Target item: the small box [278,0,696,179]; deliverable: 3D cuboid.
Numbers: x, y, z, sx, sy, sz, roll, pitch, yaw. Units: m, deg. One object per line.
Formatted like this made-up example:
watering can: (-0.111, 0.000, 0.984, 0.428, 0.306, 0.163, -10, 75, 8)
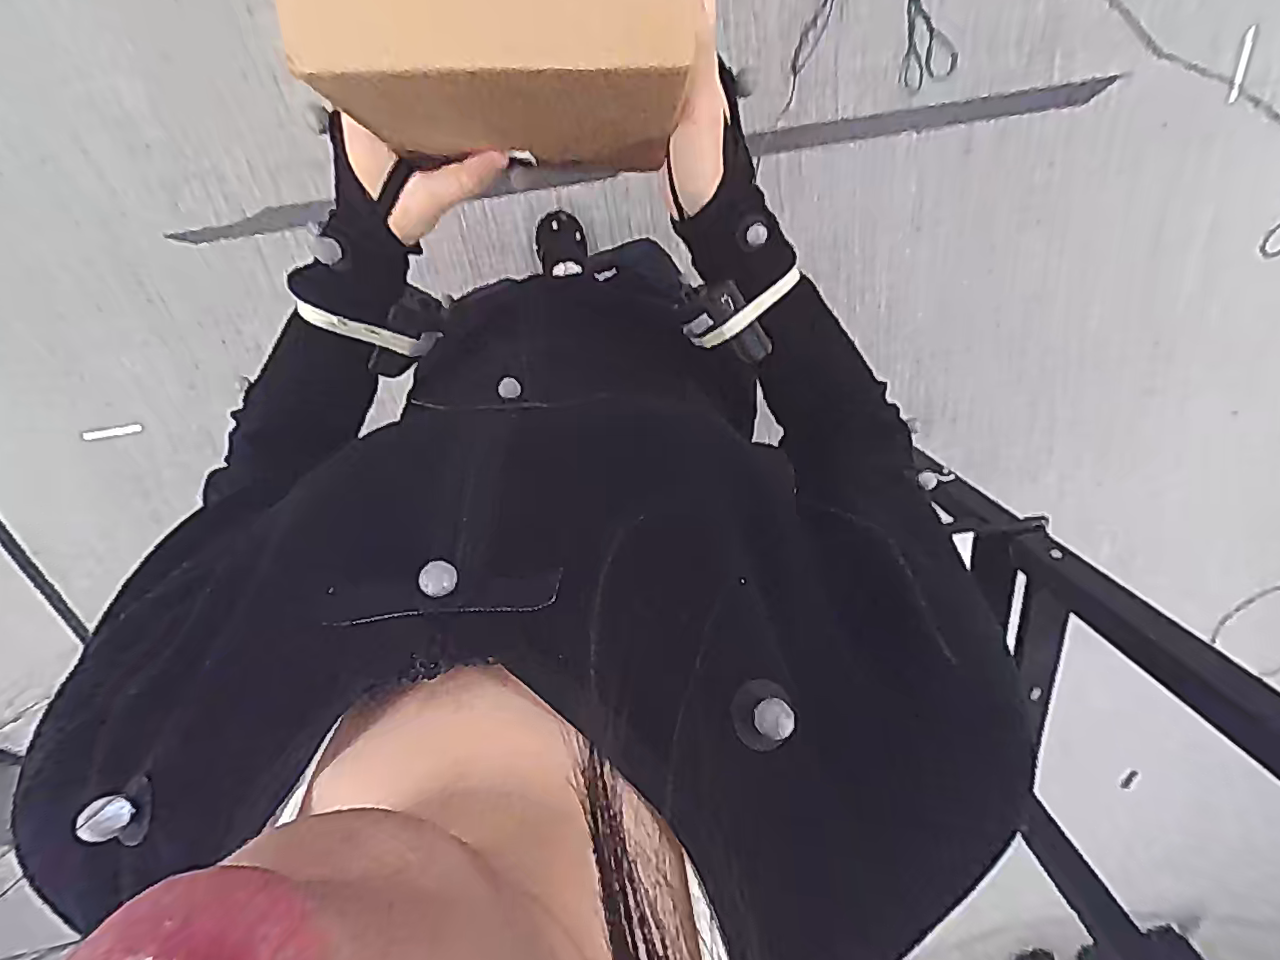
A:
small box: (-0.064, -0.271, 0.272, 0.168, 0.176, 0.179, -2, 107, -2)
